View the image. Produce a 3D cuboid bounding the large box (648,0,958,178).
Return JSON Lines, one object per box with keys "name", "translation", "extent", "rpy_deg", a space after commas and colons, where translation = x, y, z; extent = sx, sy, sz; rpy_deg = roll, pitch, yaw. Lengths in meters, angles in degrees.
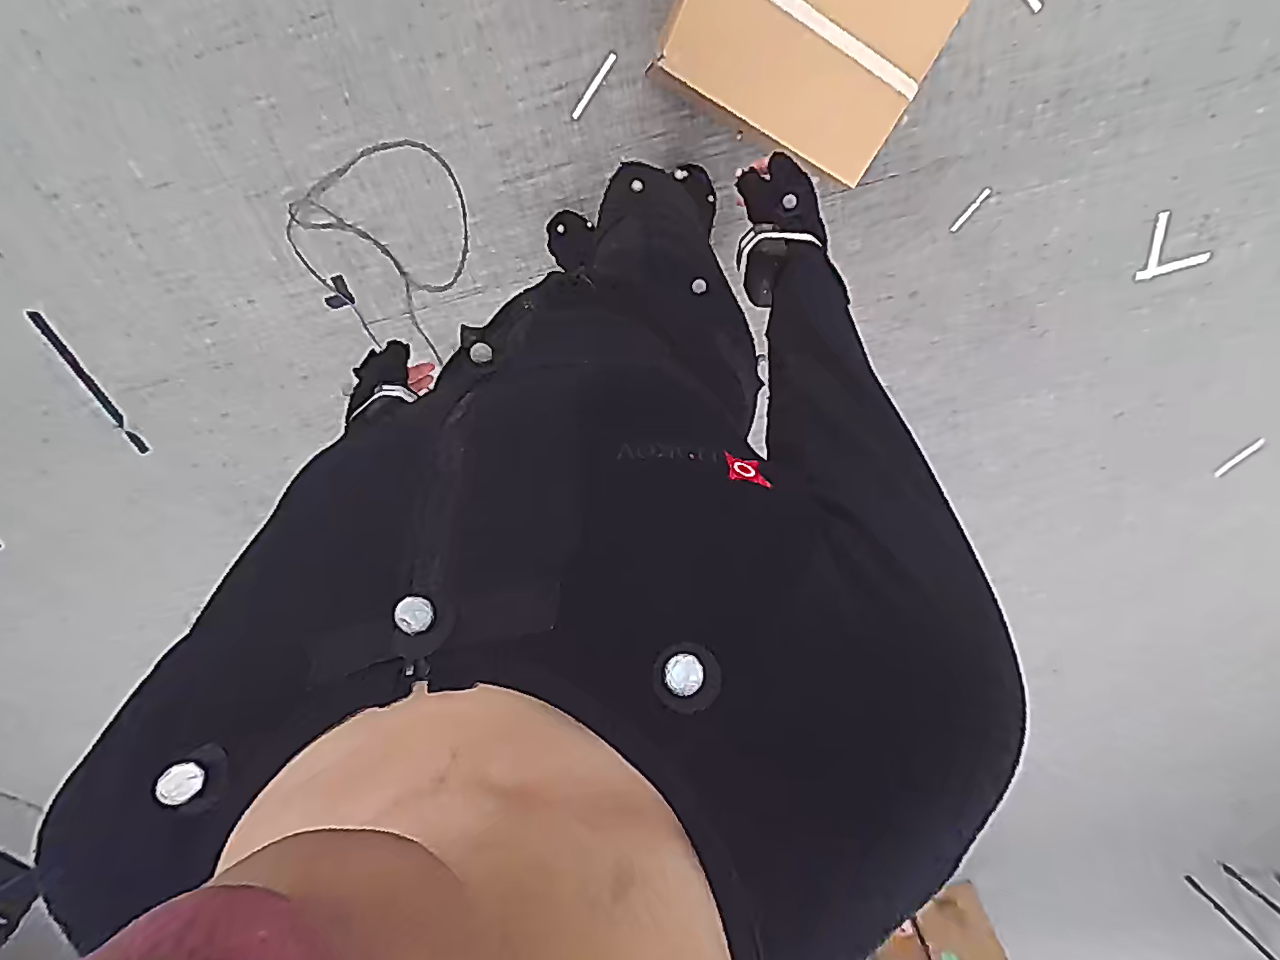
{"name": "large box", "translation": [0.262, -0.805, 0.974], "extent": [0.408, 0.320, 0.320], "rpy_deg": [21, 120, -16]}
